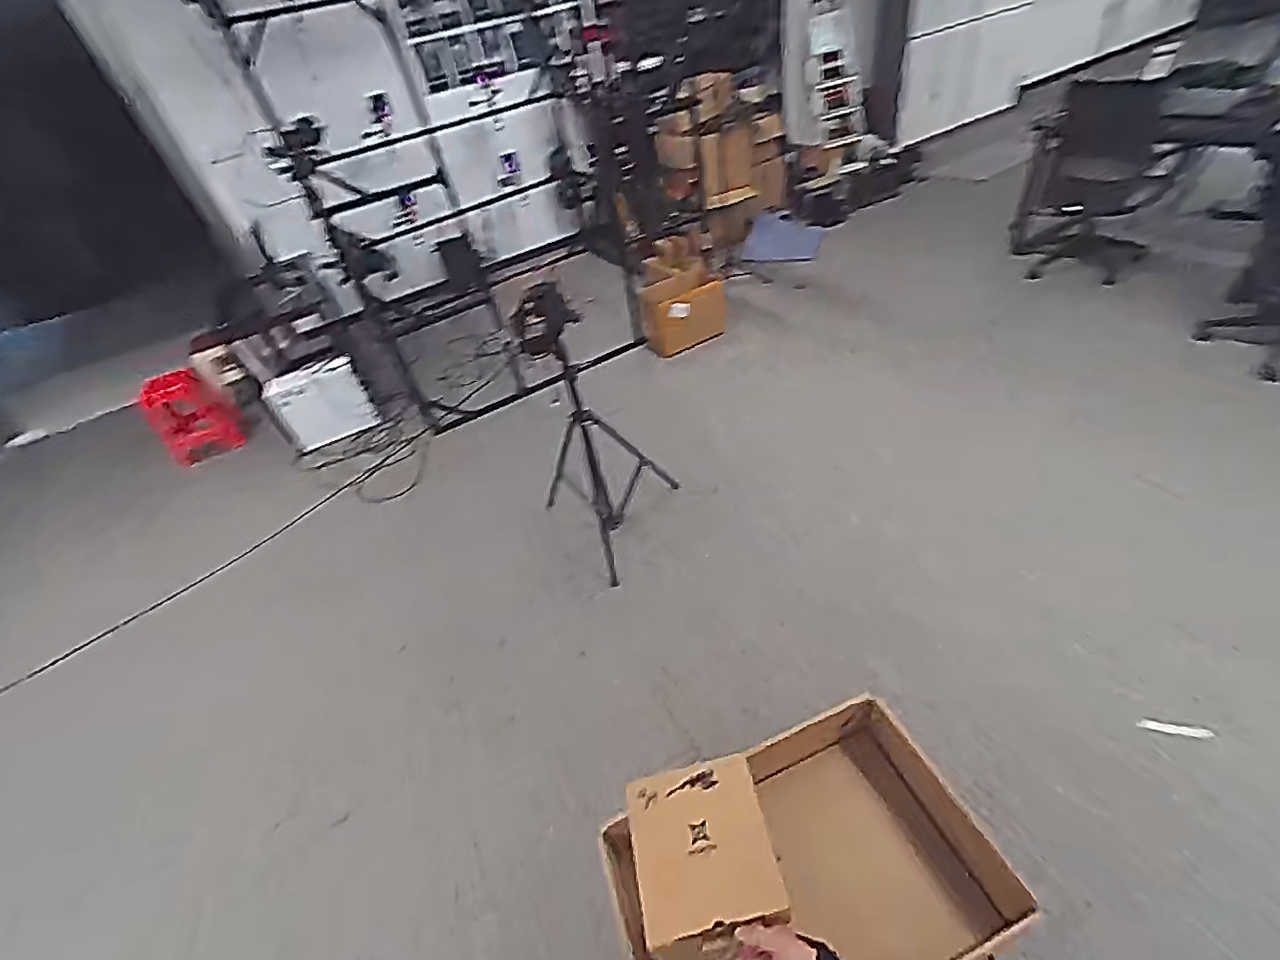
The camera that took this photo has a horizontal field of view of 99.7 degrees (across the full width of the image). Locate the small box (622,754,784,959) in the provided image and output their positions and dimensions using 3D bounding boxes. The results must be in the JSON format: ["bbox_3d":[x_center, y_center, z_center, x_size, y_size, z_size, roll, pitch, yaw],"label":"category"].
[{"bbox_3d":[0.083,0.496,0.705,0.168,0.176,0.179,-14,40,0],"label":"small box"}]

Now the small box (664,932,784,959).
[{"bbox_3d":[0.109,0.616,0.815,0.168,0.176,0.179,-17,39,-3],"label":"small box"}]
